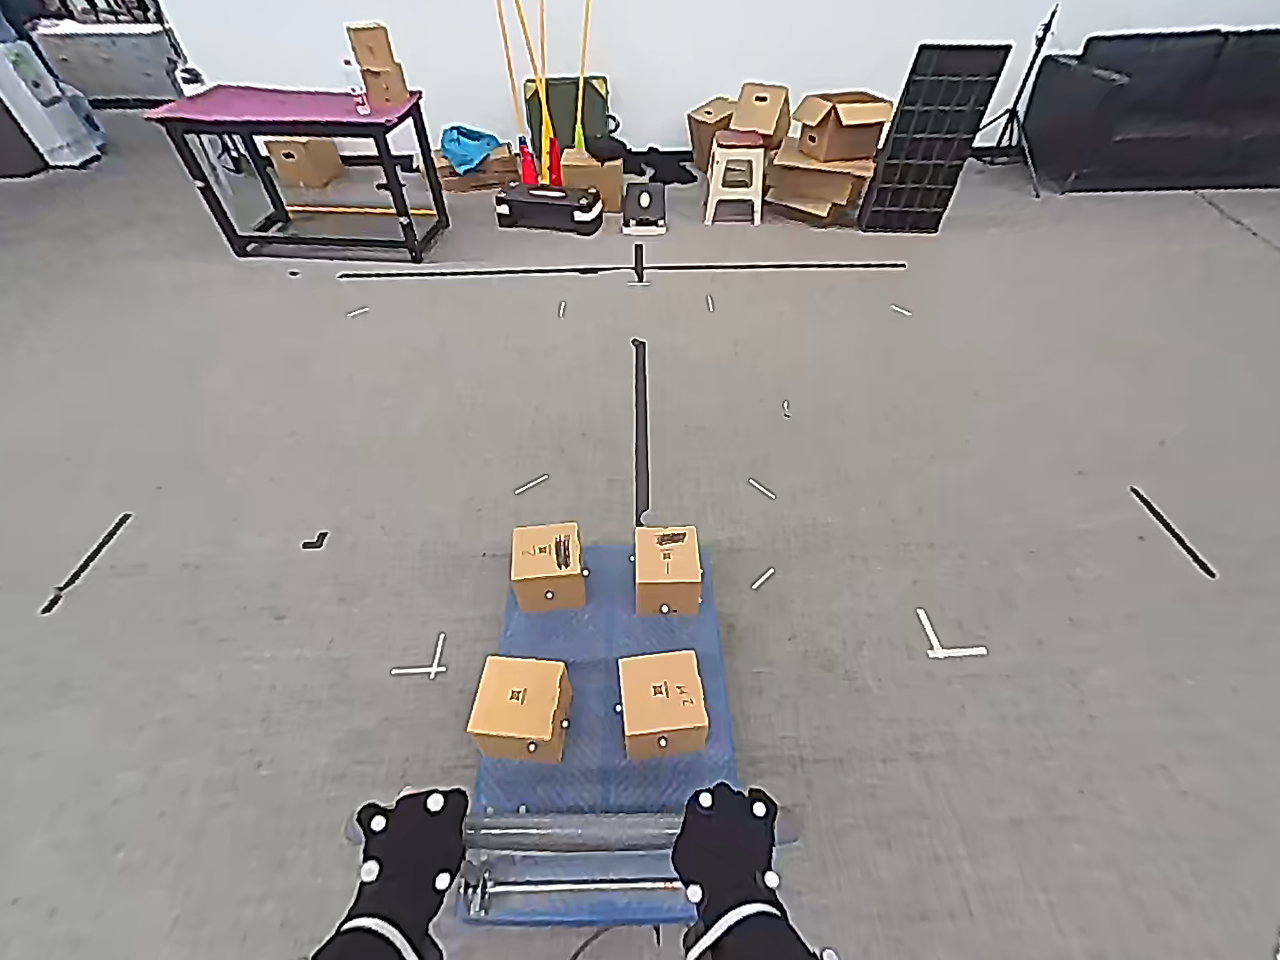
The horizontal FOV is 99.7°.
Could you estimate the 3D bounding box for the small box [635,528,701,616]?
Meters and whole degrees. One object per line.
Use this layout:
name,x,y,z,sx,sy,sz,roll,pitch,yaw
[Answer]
small box,0.071,0.247,1.459,0.168,0.176,0.179,0,48,0

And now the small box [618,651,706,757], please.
small box,0.046,0.507,1.218,0.179,0.176,0.168,-5,47,-3

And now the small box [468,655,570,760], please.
small box,-0.261,0.514,1.215,0.179,0.176,0.168,4,47,3
